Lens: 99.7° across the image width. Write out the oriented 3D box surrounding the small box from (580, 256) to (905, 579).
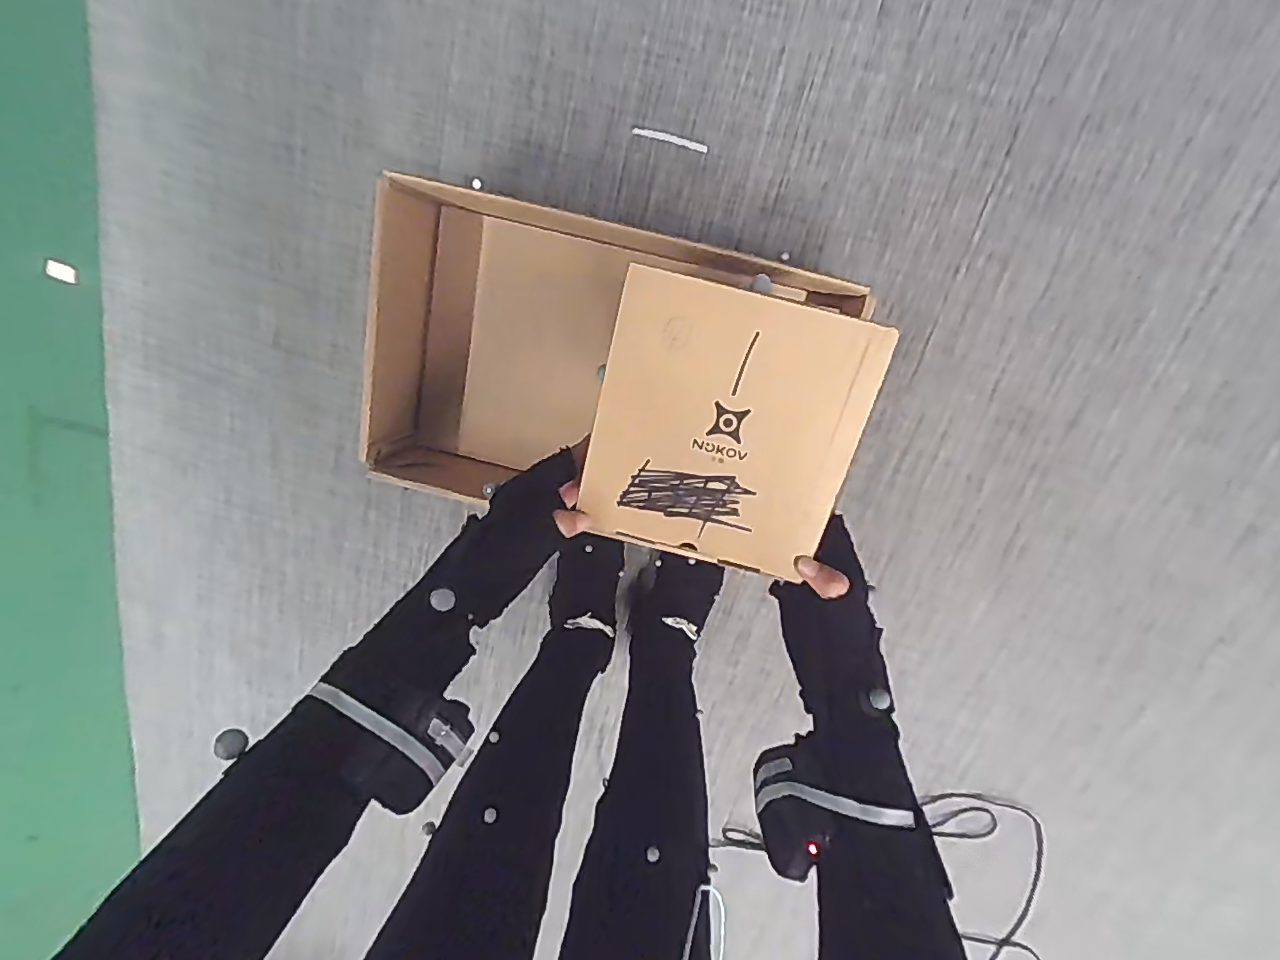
[{"bbox_3d":[0.065,-0.056,0.417,0.168,0.176,0.179,15,109,1],"label":"small box"}]
